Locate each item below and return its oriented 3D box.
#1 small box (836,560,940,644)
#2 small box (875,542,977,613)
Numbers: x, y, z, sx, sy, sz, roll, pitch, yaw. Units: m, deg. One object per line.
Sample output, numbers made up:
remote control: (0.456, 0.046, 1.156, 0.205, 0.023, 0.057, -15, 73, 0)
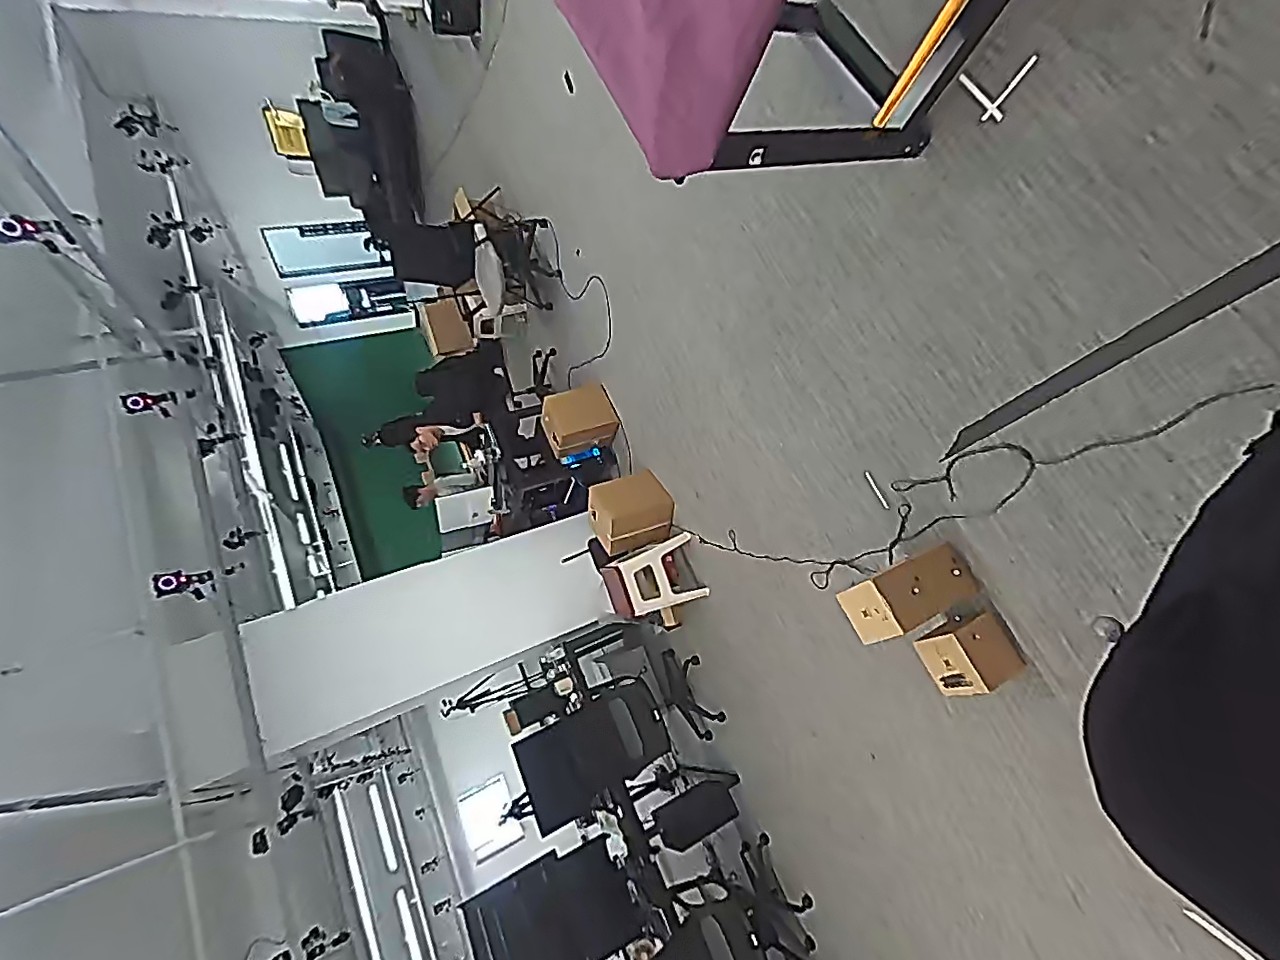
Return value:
small box: (0.715, 0.351, 1.559, 0.168, 0.176, 0.179, 63, 154, 17)
small box: (0.858, 0.306, 1.627, 0.168, 0.176, 0.179, 64, 154, 16)
